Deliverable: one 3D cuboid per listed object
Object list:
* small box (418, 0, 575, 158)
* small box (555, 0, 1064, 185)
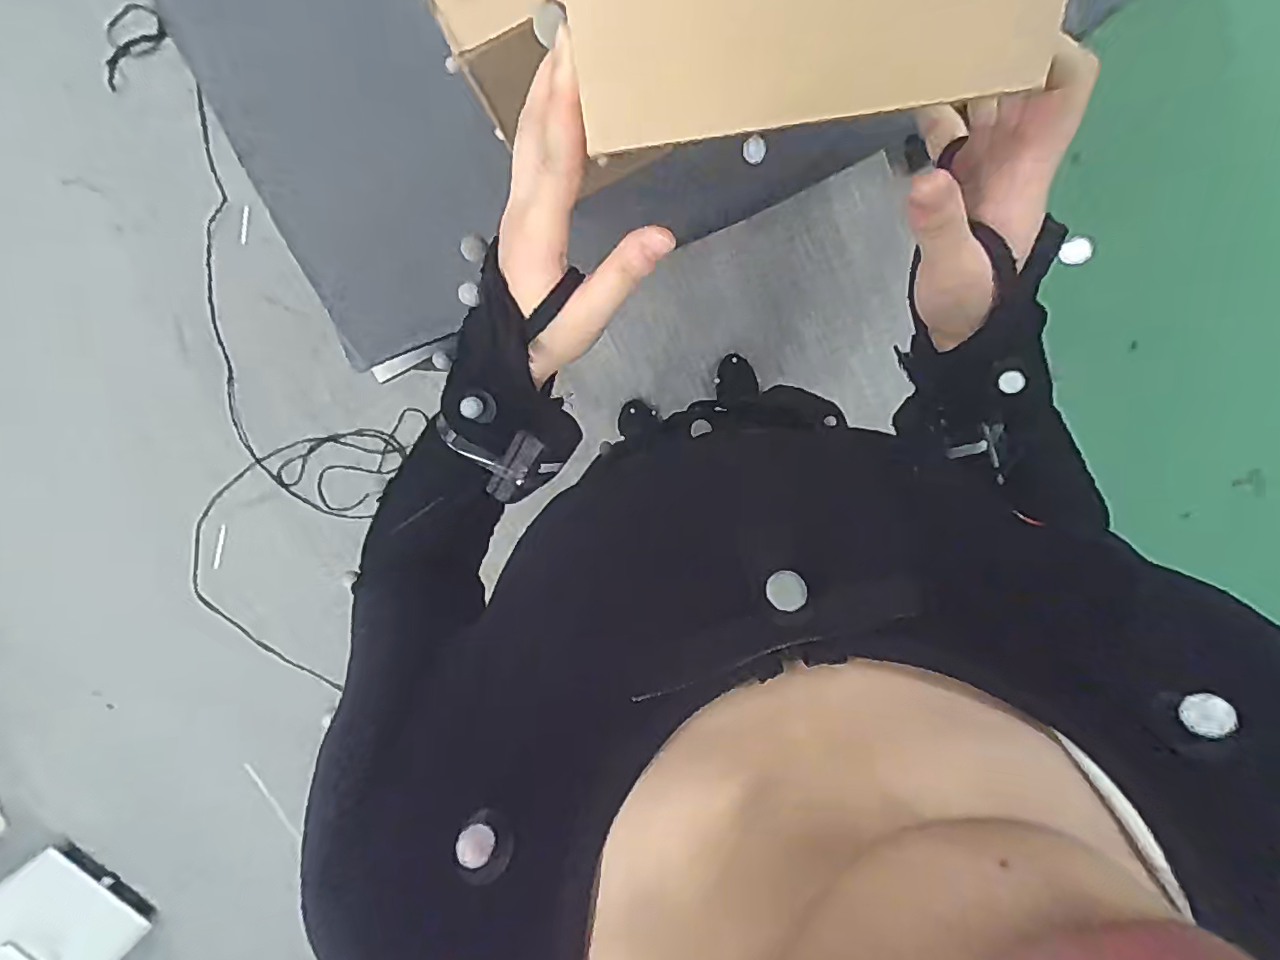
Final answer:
[{"bbox_3d":[-0.082,-0.401,0.433,0.179,0.176,0.168,-24,98,4],"label":"small box"},{"bbox_3d":[0.052,-0.235,0.220,0.168,0.176,0.179,-5,122,4],"label":"small box"}]
